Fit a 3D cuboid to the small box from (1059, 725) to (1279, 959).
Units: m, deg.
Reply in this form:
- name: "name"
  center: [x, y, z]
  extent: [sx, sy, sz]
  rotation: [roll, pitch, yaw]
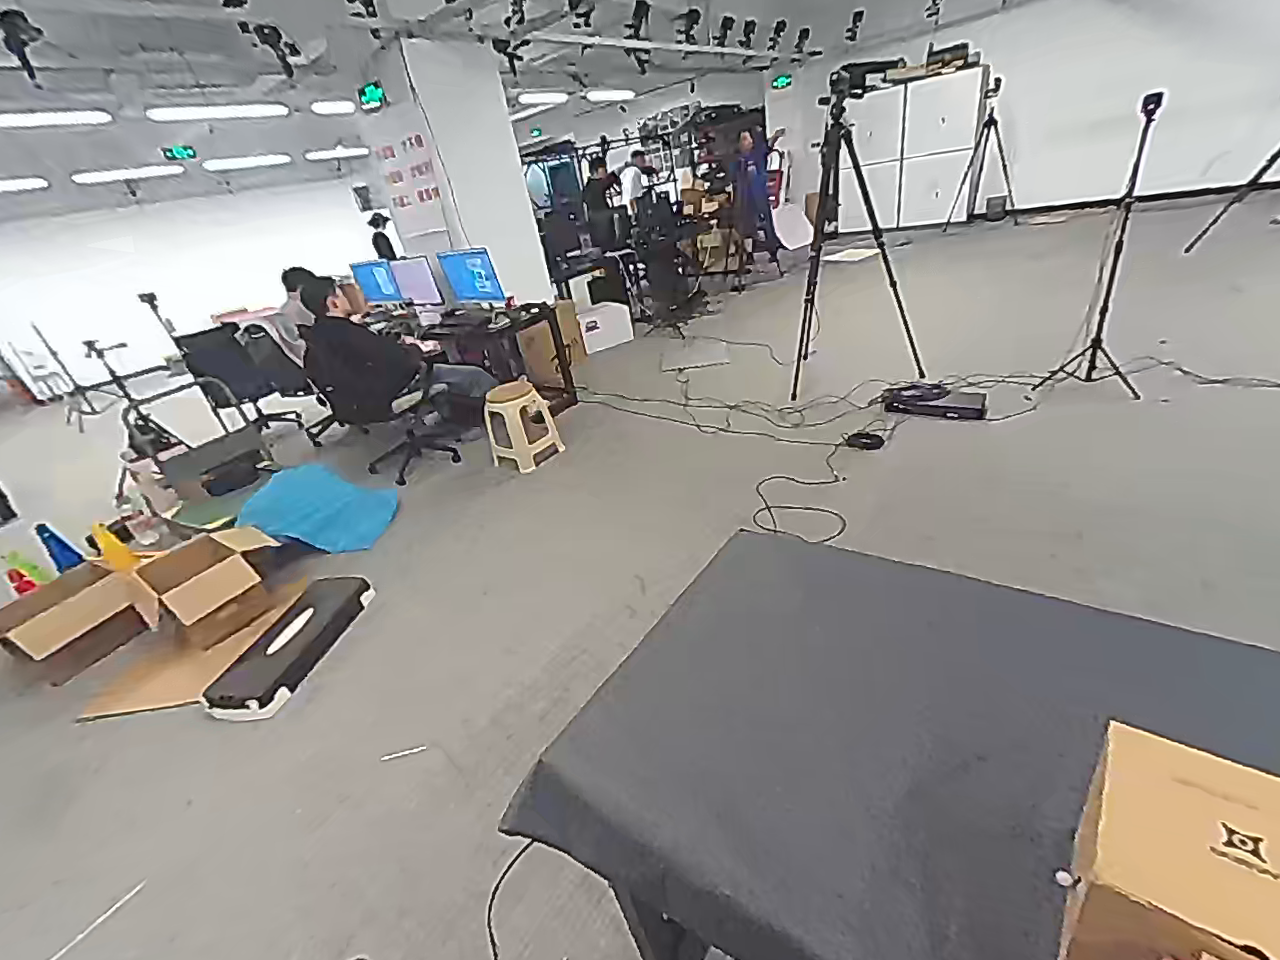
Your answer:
- name: "small box"
  center: [0.459, 0.350, 0.434]
  extent: [0.168, 0.176, 0.179]
  rotation: [14, 31, 39]
